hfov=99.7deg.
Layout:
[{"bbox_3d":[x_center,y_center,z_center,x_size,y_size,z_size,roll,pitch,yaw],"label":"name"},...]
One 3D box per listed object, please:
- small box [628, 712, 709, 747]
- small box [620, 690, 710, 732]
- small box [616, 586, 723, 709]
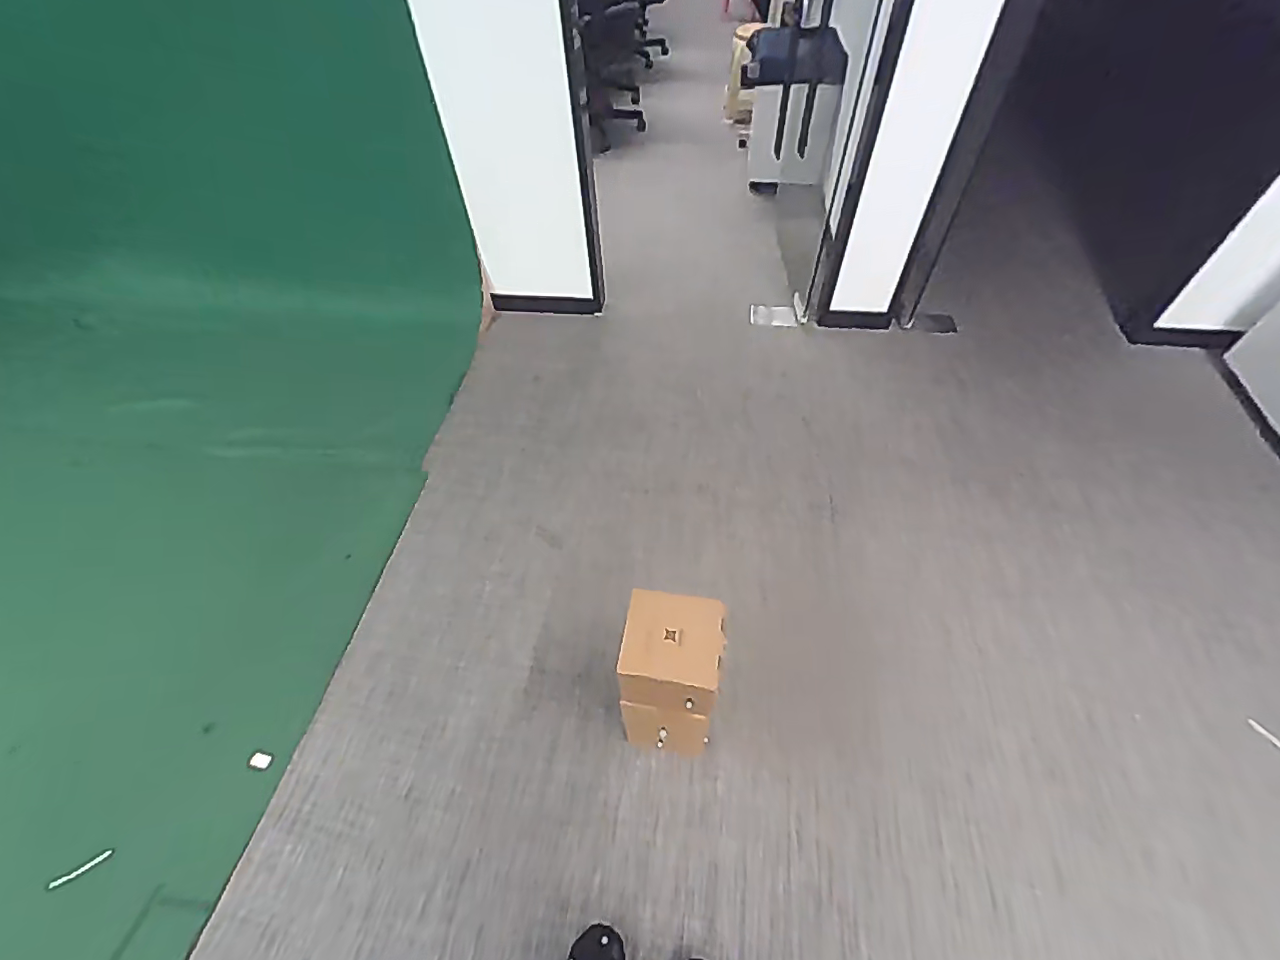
[{"bbox_3d":[0.071,0.527,1.288,0.179,0.176,0.168,5,53,5],"label":"small box"},{"bbox_3d":[0.062,0.426,1.160,0.179,0.176,0.168,8,53,8],"label":"small box"},{"bbox_3d":[0.060,0.324,1.034,0.179,0.176,0.168,5,52,8],"label":"small box"}]
